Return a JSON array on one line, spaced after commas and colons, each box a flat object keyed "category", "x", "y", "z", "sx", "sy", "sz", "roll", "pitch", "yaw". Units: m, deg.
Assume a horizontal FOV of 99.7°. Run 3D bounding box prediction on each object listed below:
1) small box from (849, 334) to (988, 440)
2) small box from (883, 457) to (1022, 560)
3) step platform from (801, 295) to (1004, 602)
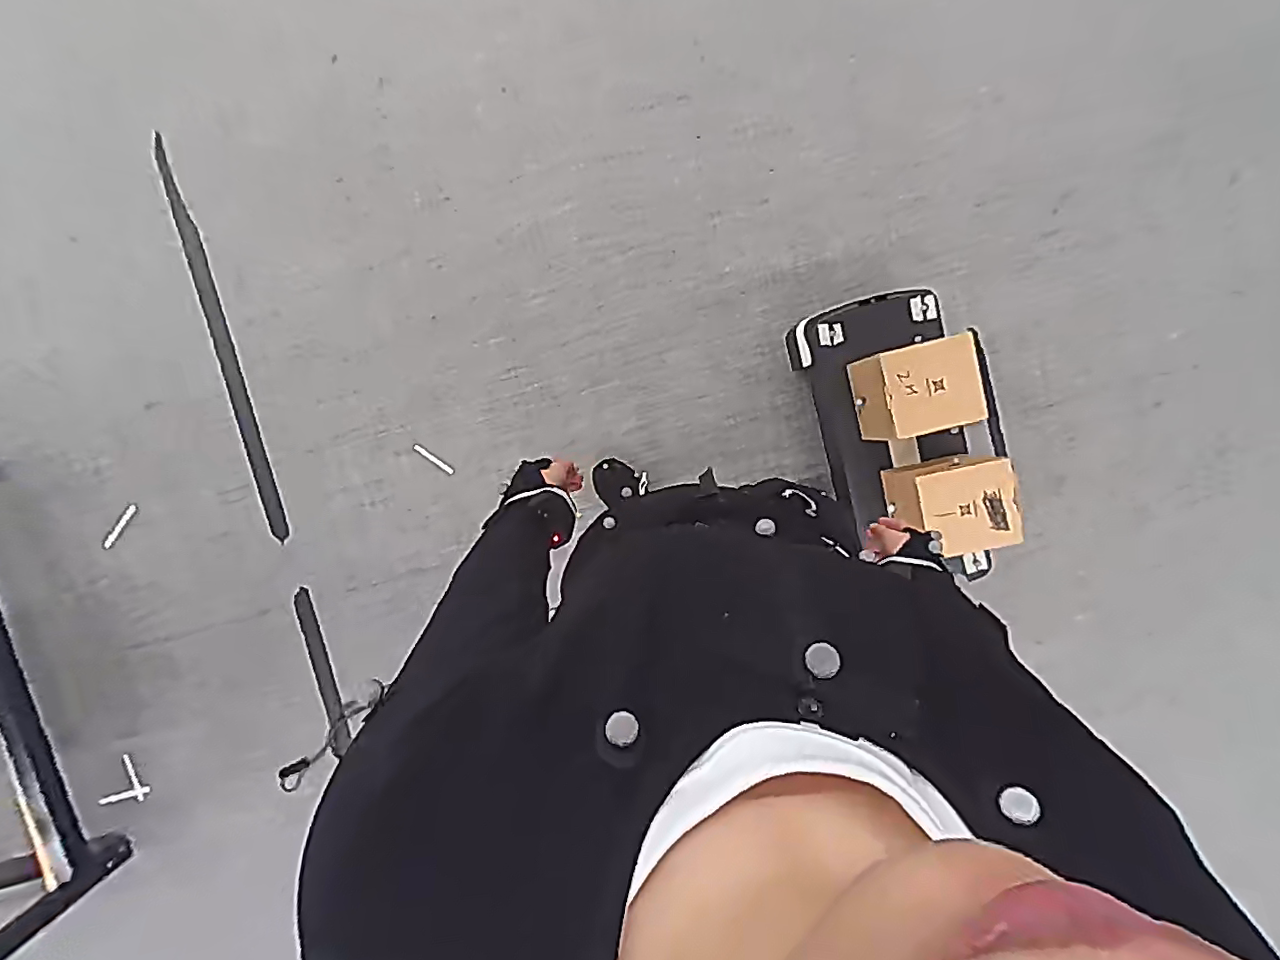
[{"category": "small box", "x": 0.545, "y": -0.178, "z": 1.075, "sx": 0.179, "sy": 0.176, "sz": 0.168, "roll": -13, "pitch": 94, "yaw": 3}, {"category": "small box", "x": 0.621, "y": 0.050, "z": 1.093, "sx": 0.179, "sy": 0.176, "sz": 0.168, "roll": -12, "pitch": 94, "yaw": 4}, {"category": "step platform", "x": 0.601, "y": -0.067, "z": 1.258, "sx": 0.286, "sy": 0.204, "sz": 0.684, "roll": -14, "pitch": 94, "yaw": 2}]
